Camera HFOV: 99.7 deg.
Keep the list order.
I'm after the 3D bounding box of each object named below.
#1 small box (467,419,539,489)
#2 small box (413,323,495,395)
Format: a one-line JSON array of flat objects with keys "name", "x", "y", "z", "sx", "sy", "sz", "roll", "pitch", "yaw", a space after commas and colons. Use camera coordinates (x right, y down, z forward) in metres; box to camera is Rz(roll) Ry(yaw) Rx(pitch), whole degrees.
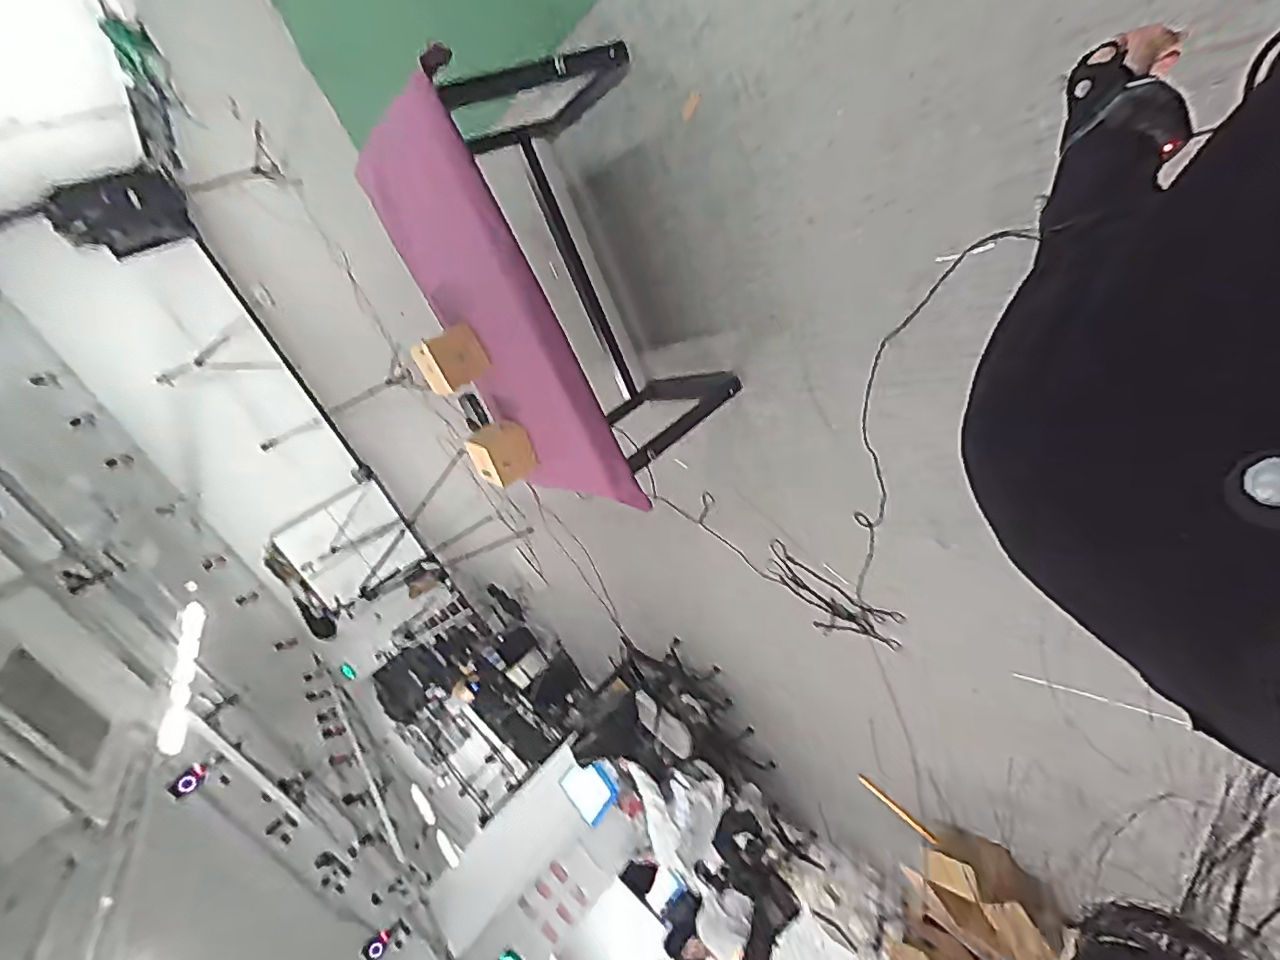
[{"name": "small box", "x": -0.498, "y": -0.100, "z": 1.989, "sx": 0.168, "sy": 0.176, "sz": 0.179, "roll": 19, "pitch": 136, "yaw": 42}, {"name": "small box", "x": -0.622, "y": -0.405, "z": 1.821, "sx": 0.168, "sy": 0.176, "sz": 0.179, "roll": 4, "pitch": 128, "yaw": 50}]
